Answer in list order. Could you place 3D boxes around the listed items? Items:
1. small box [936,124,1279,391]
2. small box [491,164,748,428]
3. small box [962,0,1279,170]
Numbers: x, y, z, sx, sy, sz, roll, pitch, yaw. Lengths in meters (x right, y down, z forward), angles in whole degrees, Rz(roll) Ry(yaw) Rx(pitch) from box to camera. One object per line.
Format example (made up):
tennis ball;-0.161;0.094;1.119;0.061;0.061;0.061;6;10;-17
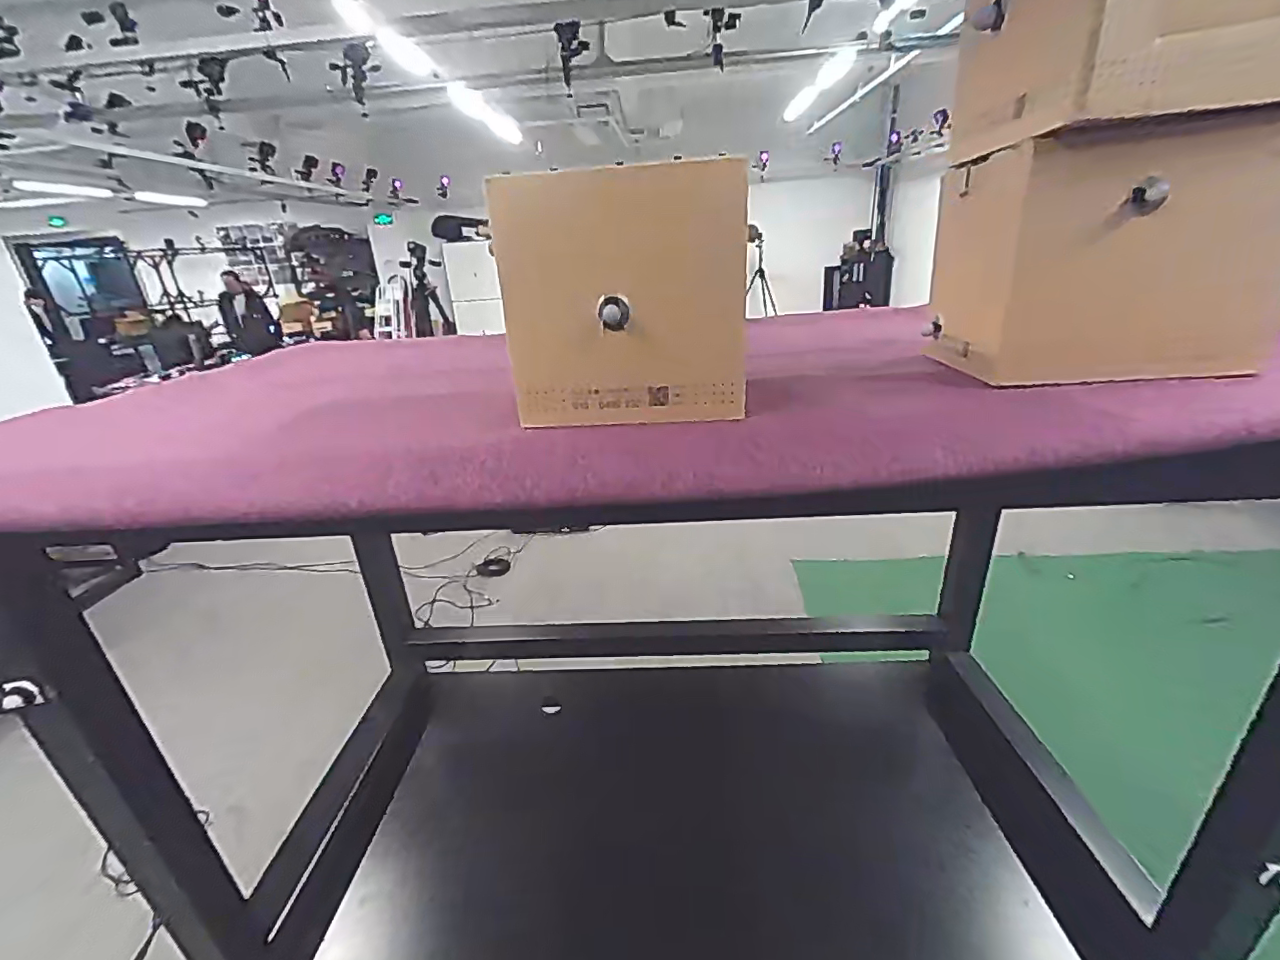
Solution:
small box;0.361;-0.171;0.440;0.179;0.176;0.168;-1;22;9
small box;-0.002;-0.143;0.439;0.168;0.176;0.179;-1;23;6
small box;0.345;-0.316;0.367;0.179;0.176;0.168;-2;22;5
